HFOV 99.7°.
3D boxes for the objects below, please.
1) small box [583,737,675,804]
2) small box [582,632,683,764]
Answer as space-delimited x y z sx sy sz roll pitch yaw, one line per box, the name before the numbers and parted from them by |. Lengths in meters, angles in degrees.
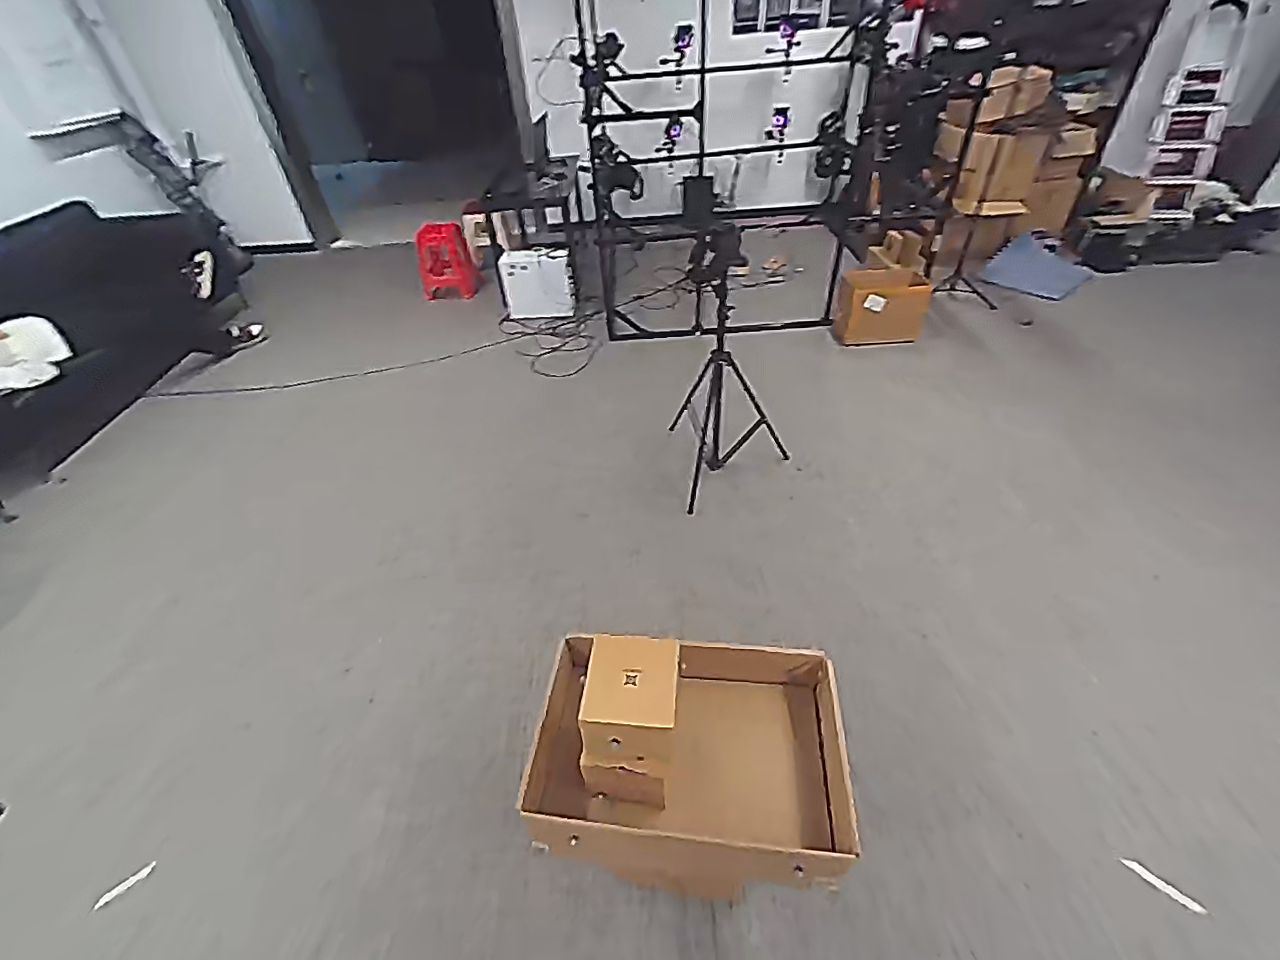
small box | -0.009 0.545 1.129 0.168 0.176 0.179 5 41 9
small box | -0.006 0.415 1.030 0.168 0.176 0.179 2 40 7
